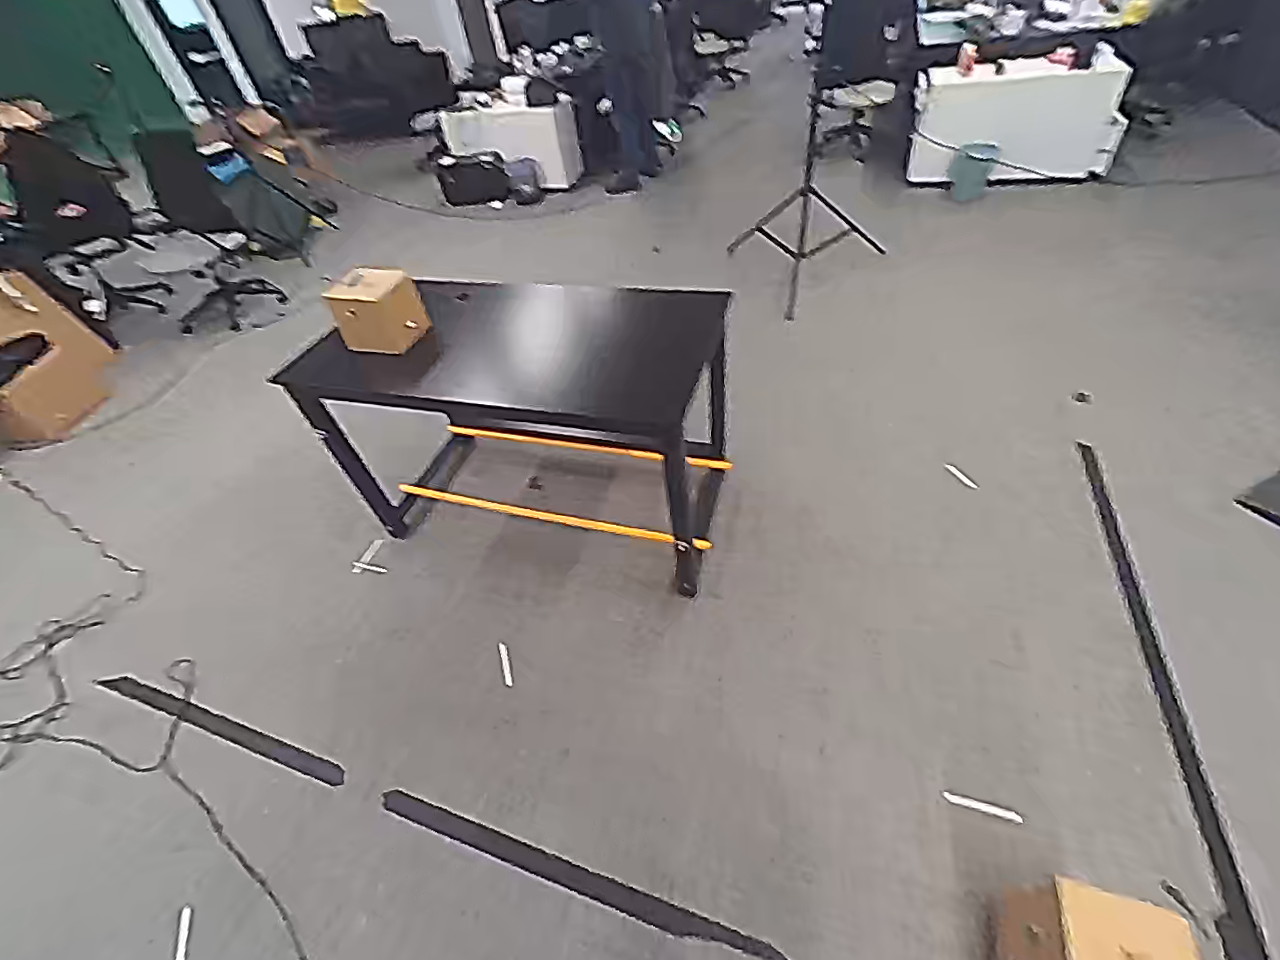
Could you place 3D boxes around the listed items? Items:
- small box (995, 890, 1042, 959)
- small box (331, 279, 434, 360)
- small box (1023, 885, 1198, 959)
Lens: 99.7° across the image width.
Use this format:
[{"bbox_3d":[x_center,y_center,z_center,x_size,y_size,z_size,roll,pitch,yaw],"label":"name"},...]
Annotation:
[{"bbox_3d":[0.774,0.898,0.991,0.168,0.176,0.179,10,48,19],"label":"small box"},{"bbox_3d":[-0.738,-0.464,1.566,0.179,0.176,0.168,8,47,15],"label":"small box"},{"bbox_3d":[0.755,0.791,0.870,0.179,0.176,0.168,8,47,19],"label":"small box"}]
